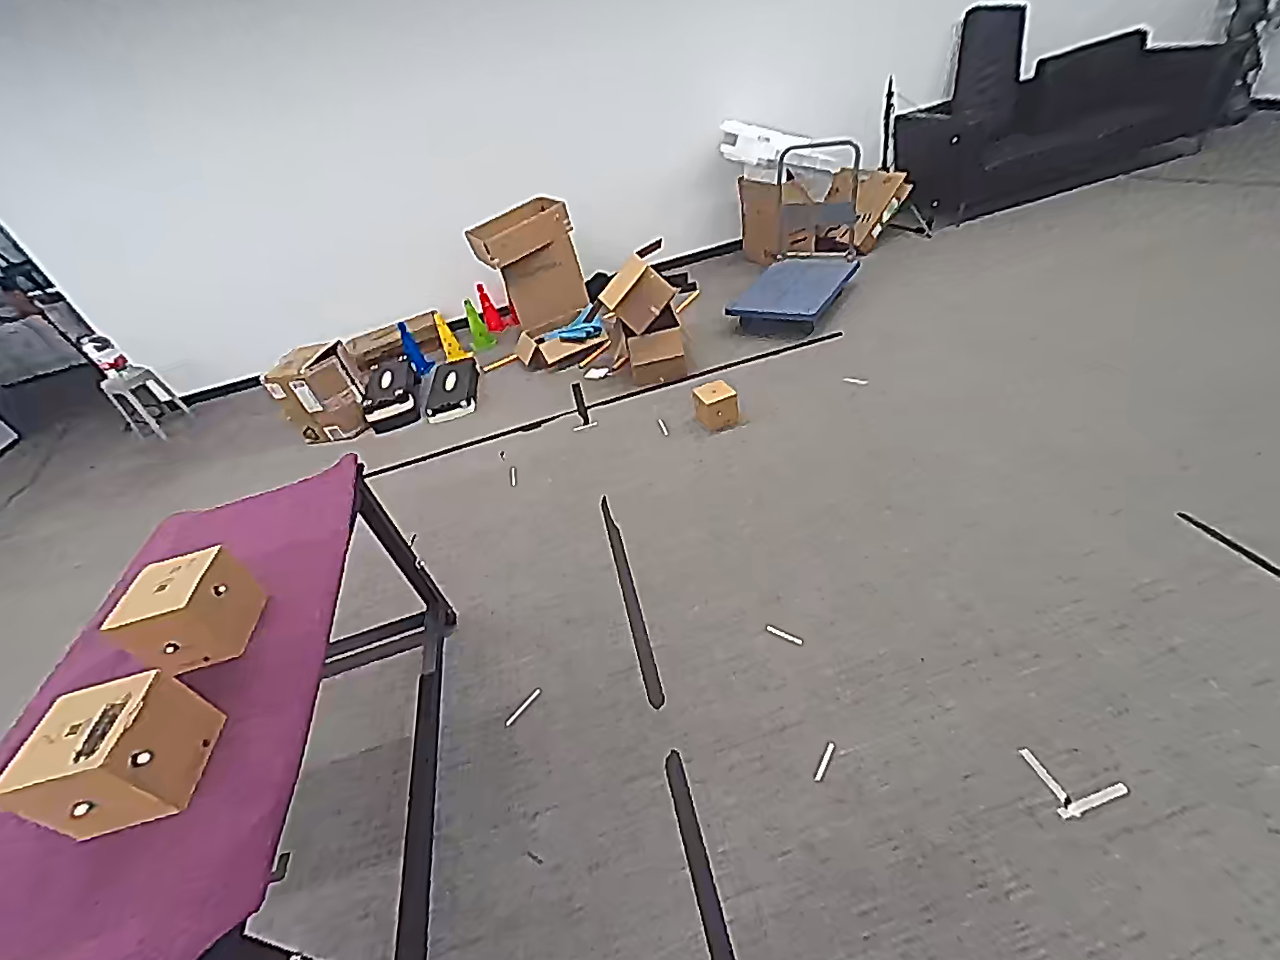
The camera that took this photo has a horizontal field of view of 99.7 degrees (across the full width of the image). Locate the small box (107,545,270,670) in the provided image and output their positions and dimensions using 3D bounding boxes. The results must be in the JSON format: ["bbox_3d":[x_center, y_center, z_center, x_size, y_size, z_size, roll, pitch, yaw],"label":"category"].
[{"bbox_3d":[-0.921,0.271,1.127,0.168,0.176,0.179,-15,37,-2],"label":"small box"}]

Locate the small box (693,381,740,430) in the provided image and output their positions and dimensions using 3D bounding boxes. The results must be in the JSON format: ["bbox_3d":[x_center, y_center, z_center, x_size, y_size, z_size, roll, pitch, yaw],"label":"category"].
[{"bbox_3d":[0.386,-0.367,2.705,0.168,0.176,0.179,-21,38,-9],"label":"small box"}]
